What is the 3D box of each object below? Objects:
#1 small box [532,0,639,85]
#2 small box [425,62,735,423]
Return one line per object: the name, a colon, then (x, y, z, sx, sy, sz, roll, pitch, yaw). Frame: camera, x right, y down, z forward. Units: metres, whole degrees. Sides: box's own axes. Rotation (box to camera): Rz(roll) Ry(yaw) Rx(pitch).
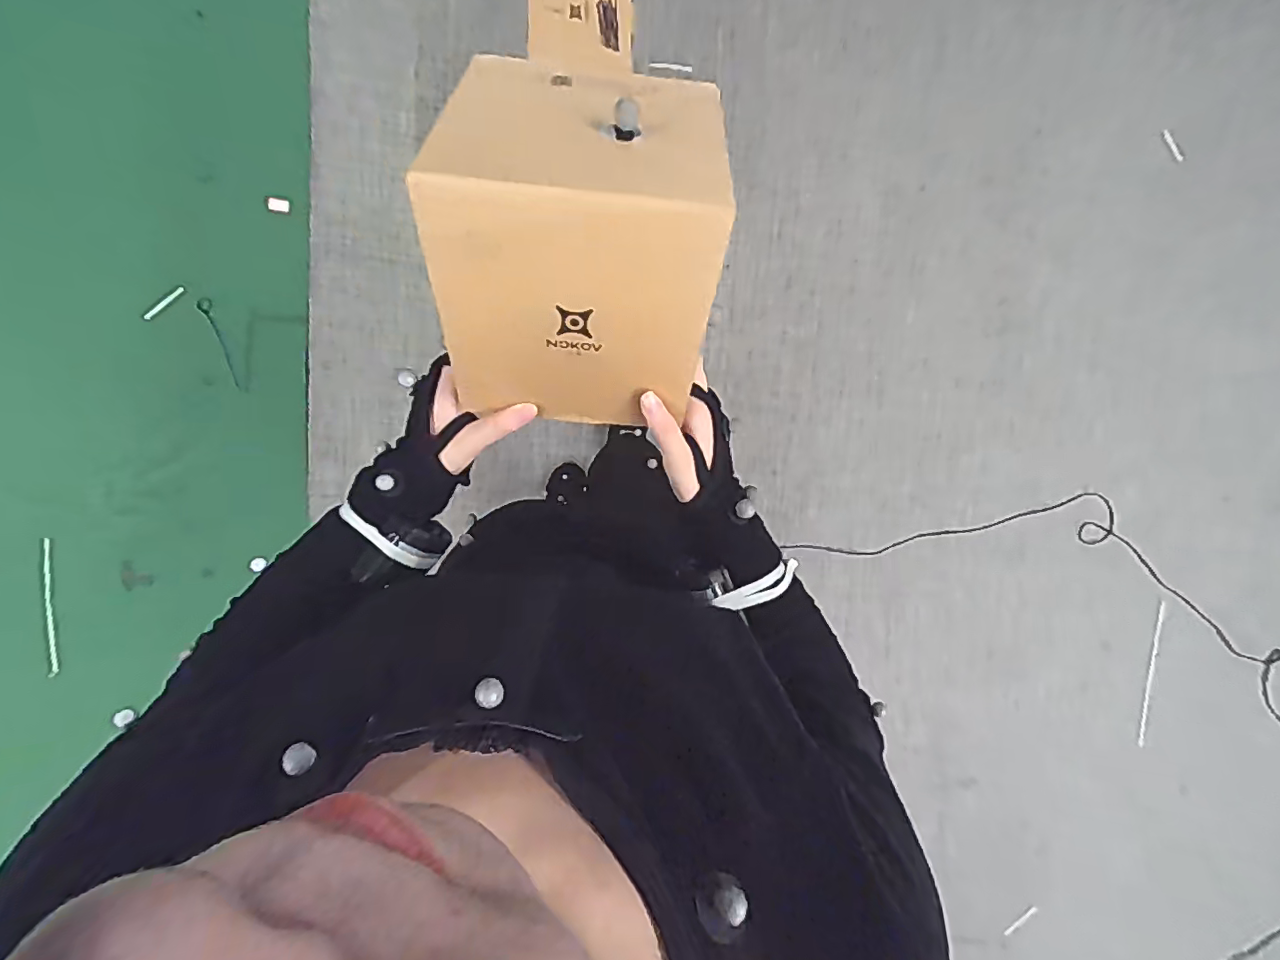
small box: (-0.096, -0.775, 0.976, 0.179, 0.176, 0.168, 1, 97, -4)
small box: (-0.038, -0.166, 0.393, 0.168, 0.179, 0.176, 5, 55, -4)
